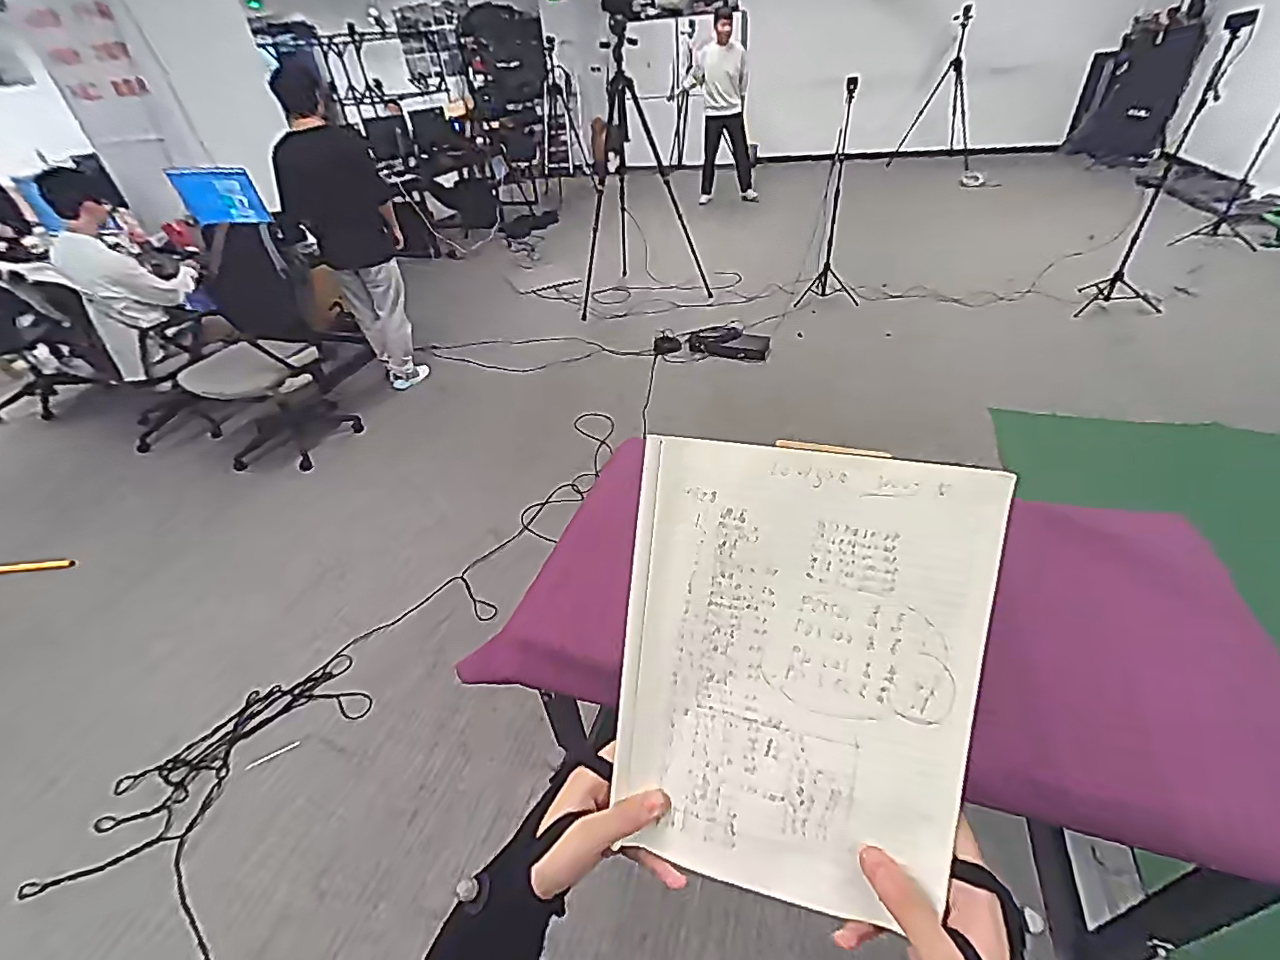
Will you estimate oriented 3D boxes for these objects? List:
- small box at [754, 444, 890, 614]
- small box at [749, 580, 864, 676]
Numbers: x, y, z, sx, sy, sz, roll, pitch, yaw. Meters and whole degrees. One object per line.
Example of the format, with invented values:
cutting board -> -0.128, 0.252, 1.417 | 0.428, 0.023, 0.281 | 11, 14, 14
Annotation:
small box -> 0.265, 0.070, 0.798 | 0.168, 0.176, 0.179 | 9, 39, 18
small box -> 0.278, 0.197, 0.904 | 0.168, 0.176, 0.179 | 9, 41, 17
